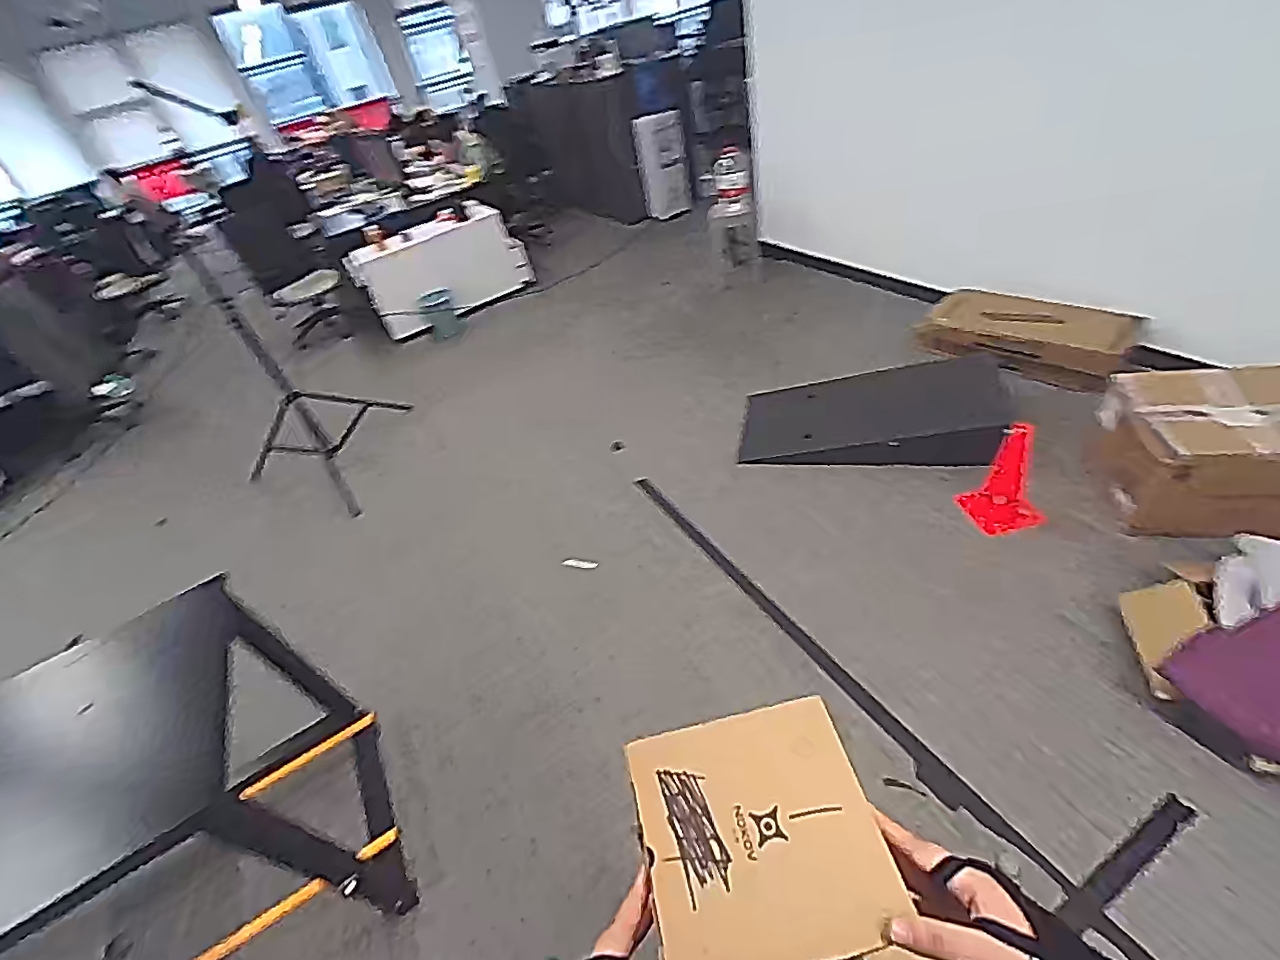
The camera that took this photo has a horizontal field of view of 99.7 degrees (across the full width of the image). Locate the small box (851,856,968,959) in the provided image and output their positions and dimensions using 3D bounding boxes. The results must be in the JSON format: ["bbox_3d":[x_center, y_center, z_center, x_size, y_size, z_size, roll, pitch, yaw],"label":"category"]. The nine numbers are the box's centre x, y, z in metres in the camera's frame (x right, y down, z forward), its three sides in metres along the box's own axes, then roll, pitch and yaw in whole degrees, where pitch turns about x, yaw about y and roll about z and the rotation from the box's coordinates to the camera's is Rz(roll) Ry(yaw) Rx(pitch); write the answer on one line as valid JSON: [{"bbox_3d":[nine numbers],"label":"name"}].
[{"bbox_3d":[0.498,0.891,1.059,0.179,0.176,0.168,-28,42,-13],"label":"small box"}]

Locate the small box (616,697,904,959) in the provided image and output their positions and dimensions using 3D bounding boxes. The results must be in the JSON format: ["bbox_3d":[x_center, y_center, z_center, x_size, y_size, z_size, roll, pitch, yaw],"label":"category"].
[{"bbox_3d":[0.087,0.319,0.467,0.179,0.176,0.168,-12,47,-5],"label":"small box"}]
